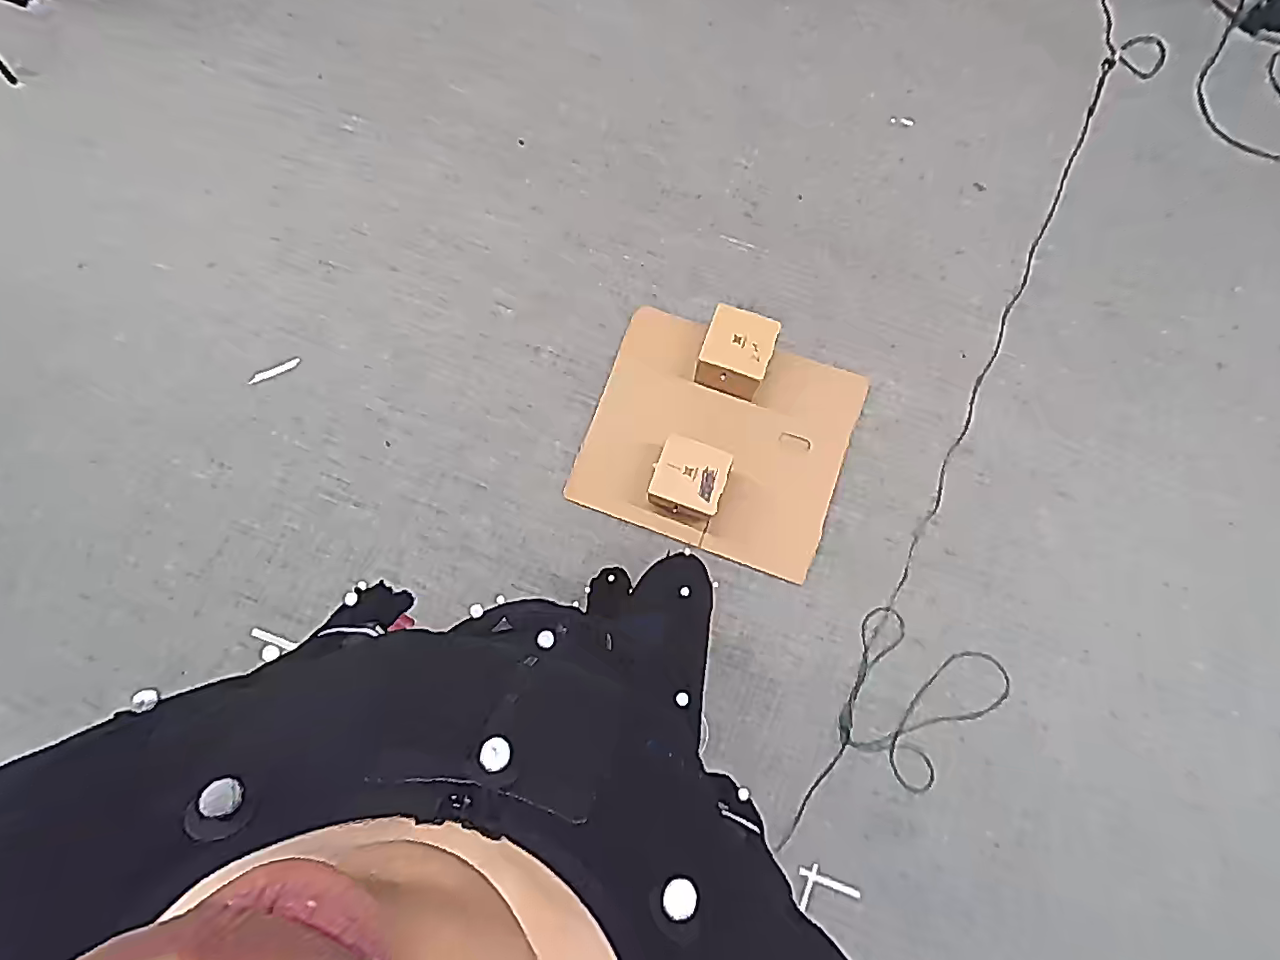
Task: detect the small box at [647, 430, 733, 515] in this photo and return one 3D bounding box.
[{"bbox_3d":[0.127,-0.012,1.420,0.179,0.176,0.168,20,82,5],"label":"small box"}]

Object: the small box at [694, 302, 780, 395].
[{"bbox_3d":[0.255,-0.348,1.467,0.179,0.176,0.168,20,83,4],"label":"small box"}]
